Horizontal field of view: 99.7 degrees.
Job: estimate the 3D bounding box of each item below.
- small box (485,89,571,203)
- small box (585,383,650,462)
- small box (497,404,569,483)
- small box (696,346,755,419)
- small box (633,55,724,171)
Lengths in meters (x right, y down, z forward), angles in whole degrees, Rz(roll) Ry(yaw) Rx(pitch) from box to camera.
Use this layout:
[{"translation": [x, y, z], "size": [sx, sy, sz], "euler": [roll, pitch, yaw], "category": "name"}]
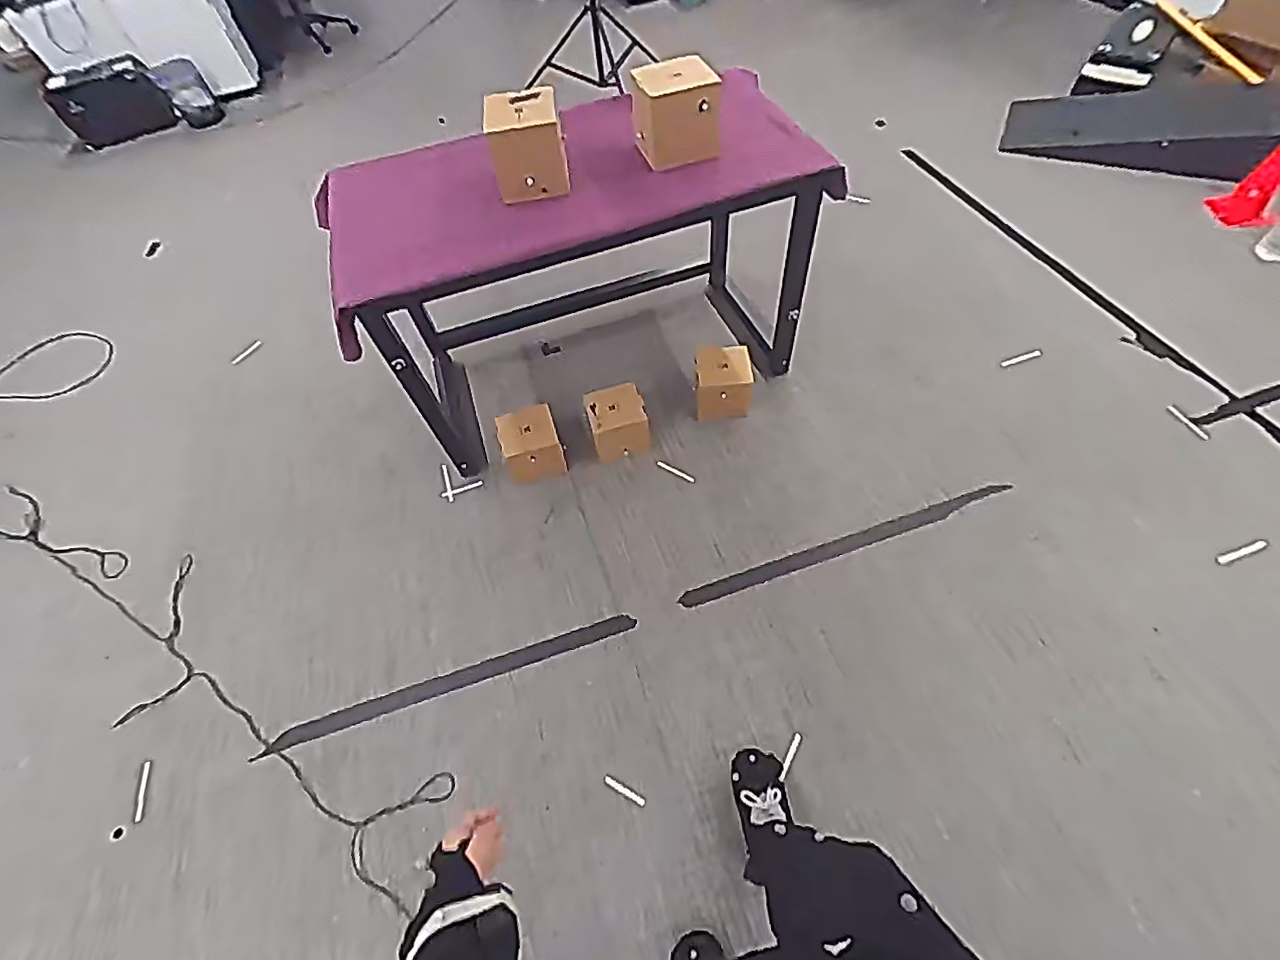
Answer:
[{"translation": [-0.265, -0.801, 1.302], "size": [0.168, 0.176, 0.179], "euler": [-9, 58, 1], "category": "small box"}, {"translation": [-0.068, -0.182, 1.757], "size": [0.179, 0.176, 0.168], "euler": [-15, 58, -4], "category": "small box"}, {"translation": [-0.341, -0.111, 1.741], "size": [0.179, 0.176, 0.168], "euler": [-16, 59, -5], "category": "small box"}, {"translation": [0.281, -0.323, 1.811], "size": [0.179, 0.176, 0.168], "euler": [-5, 58, 4], "category": "small box"}, {"translation": [0.093, -0.894, 1.323], "size": [0.179, 0.176, 0.168], "euler": [-17, 57, -5], "category": "small box"}]
